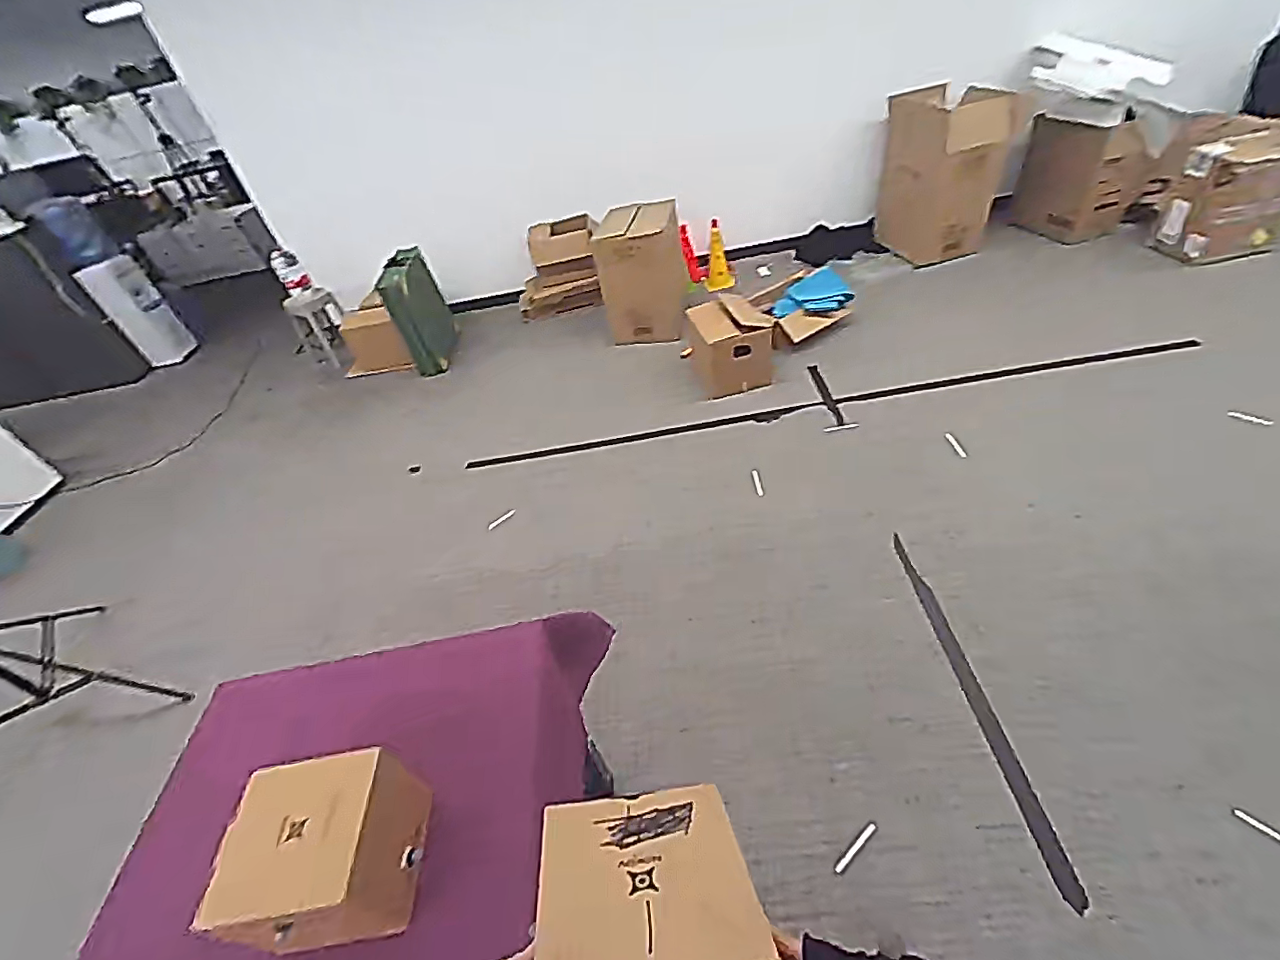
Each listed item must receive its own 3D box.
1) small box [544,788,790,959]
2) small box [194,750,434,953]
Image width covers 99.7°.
[{"bbox_3d":[0.016,0.391,0.435,0.168,0.176,0.179,-6,5,-6],"label":"small box"},{"bbox_3d":[-0.394,0.476,0.692,0.179,0.176,0.168,-12,42,1],"label":"small box"}]
